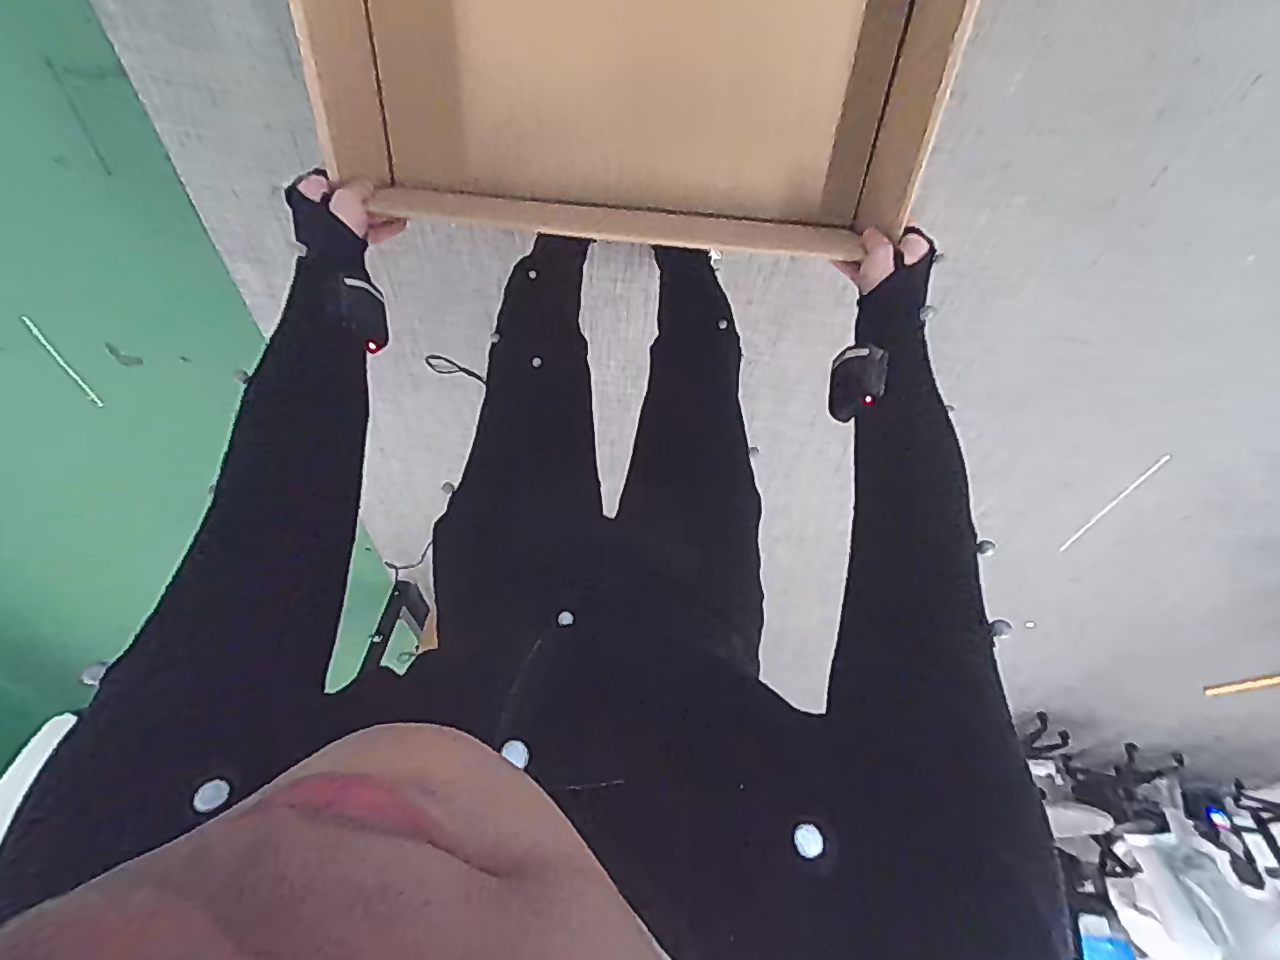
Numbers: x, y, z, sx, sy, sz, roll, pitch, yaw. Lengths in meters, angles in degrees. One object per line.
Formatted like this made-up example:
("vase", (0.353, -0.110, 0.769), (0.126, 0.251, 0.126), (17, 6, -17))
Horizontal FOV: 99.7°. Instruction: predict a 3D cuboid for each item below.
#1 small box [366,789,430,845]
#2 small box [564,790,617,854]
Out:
("small box", (-0.953, 1.333, 2.145), (0.168, 0.176, 0.179), (5, 138, -2))
("small box", (-0.174, 1.217, 1.926), (0.168, 0.176, 0.179), (5, 141, 1))
